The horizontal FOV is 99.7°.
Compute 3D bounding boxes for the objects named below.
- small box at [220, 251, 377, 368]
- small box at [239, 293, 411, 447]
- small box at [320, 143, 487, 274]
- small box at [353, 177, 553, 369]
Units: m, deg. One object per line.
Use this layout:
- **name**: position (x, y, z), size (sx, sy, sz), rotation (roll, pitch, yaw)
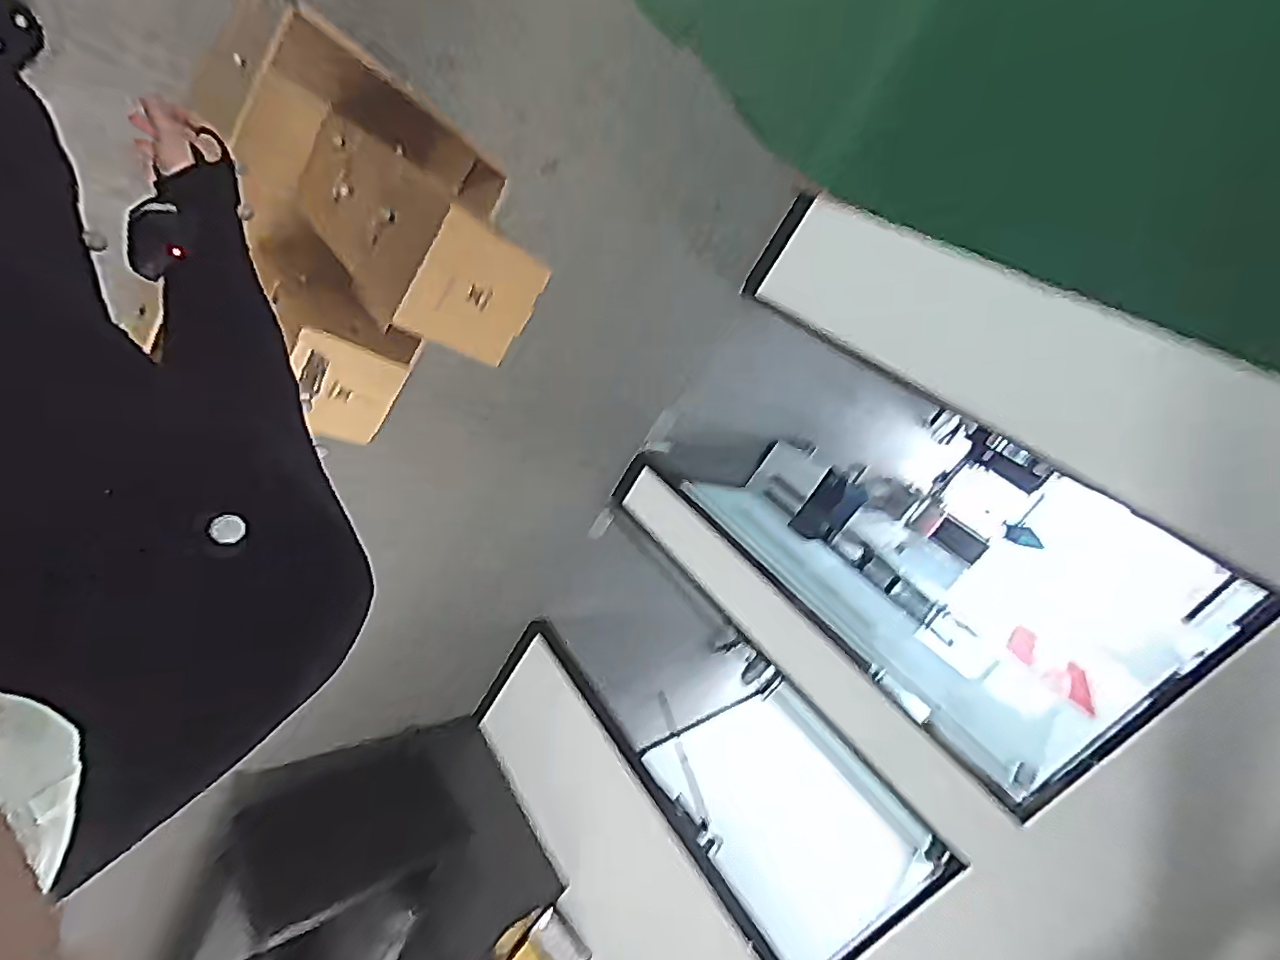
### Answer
- **small box**: position (-0.623, -0.284, 0.986), size (0.168, 0.176, 0.179), rotation (-53, 146, 13)
- **small box**: position (-0.526, -0.185, 0.898), size (0.168, 0.176, 0.179), rotation (-53, 147, 12)
- **small box**: position (-0.361, -0.389, 0.851), size (0.168, 0.176, 0.179), rotation (-54, 147, 14)
- **small box**: position (-0.265, -0.291, 0.764), size (0.168, 0.176, 0.179), rotation (-54, 147, 13)
